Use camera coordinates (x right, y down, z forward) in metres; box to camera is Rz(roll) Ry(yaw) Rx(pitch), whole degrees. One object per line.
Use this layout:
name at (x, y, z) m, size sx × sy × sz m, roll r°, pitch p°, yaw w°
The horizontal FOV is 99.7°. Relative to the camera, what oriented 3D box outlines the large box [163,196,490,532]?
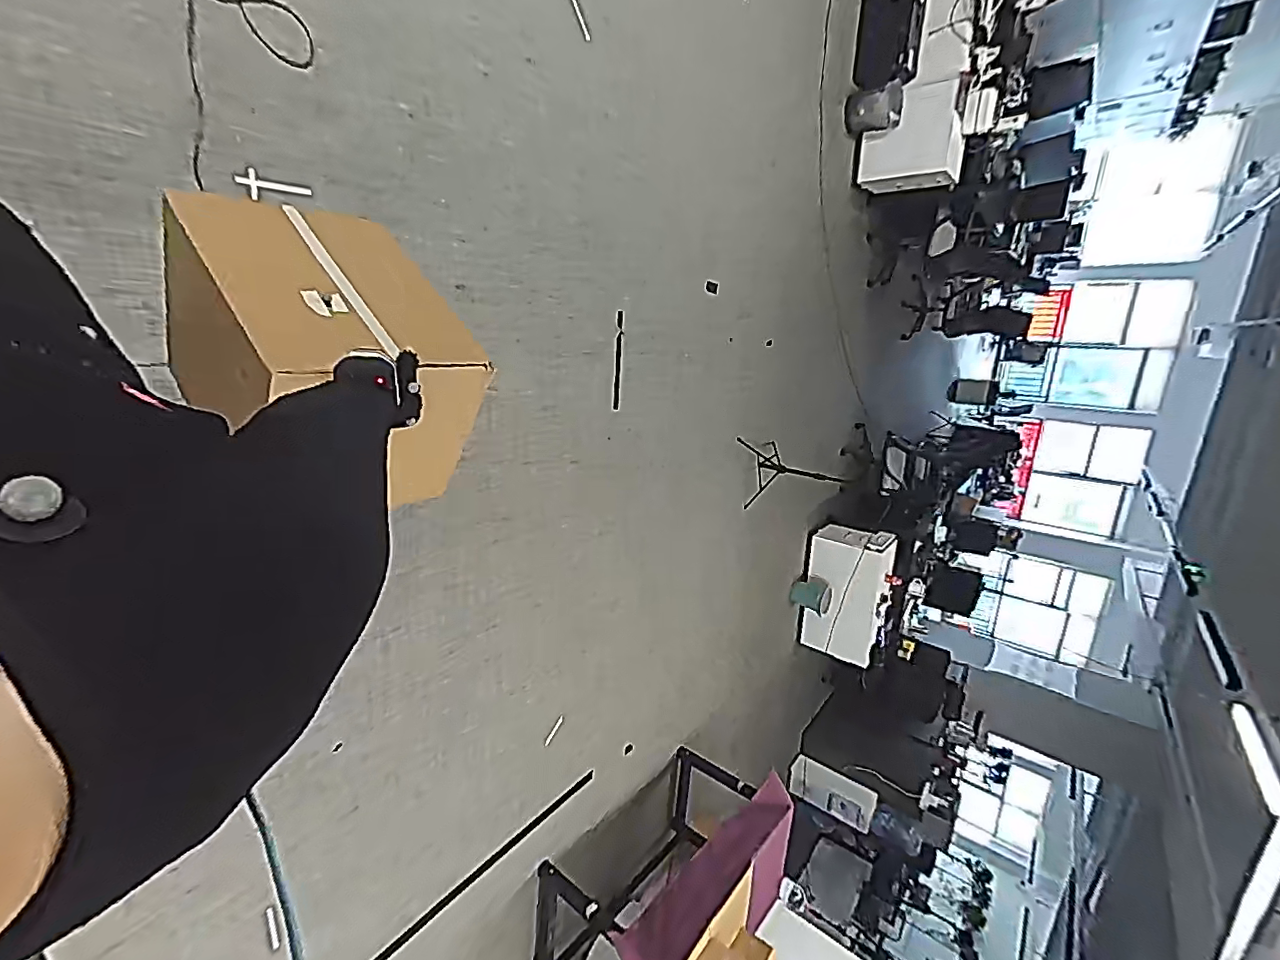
large box at (-0.530, -0.187, 0.899) m, size 0.320 × 0.408 × 0.320 m, roll -18°, pitch 151°, yaw -50°
